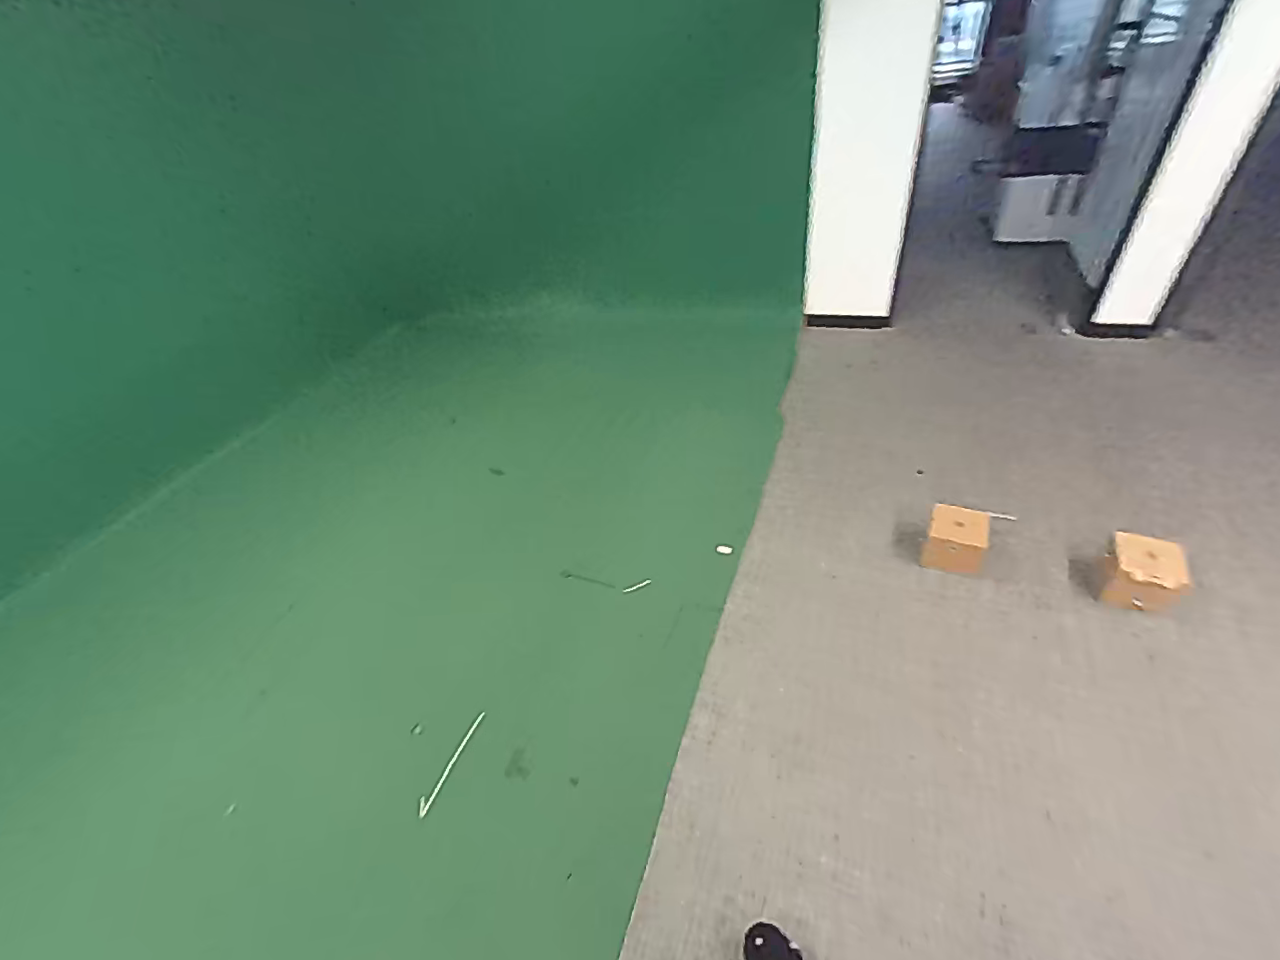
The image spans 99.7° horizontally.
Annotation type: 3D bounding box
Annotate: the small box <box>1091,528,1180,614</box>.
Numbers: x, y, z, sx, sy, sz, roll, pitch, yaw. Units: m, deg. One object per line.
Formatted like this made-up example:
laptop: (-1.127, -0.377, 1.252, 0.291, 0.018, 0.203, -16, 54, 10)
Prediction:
small box: (1.560, 0.287, 1.708, 0.168, 0.176, 0.179, 17, 50, 30)

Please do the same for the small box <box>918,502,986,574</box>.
small box: (1.094, 0.207, 1.902, 0.179, 0.176, 0.168, 13, 48, 24)
